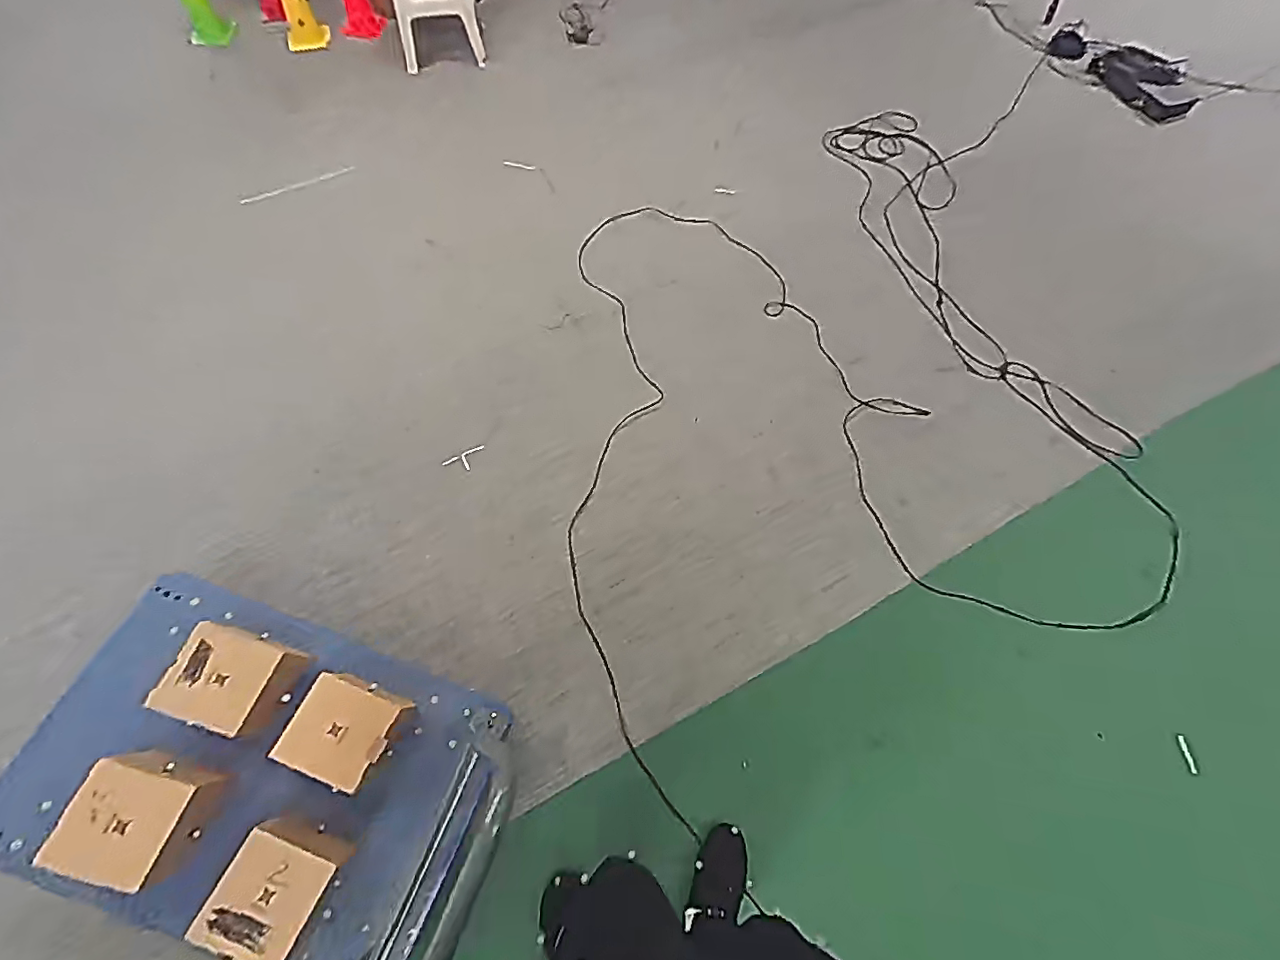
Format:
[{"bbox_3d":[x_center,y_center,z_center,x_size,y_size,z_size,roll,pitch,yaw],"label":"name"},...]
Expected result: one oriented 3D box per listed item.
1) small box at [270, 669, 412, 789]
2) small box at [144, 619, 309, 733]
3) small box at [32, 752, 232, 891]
[{"bbox_3d":[-0.602,0.508,1.116,0.179,0.176,0.168,25,66,-3],"label":"small box"},{"bbox_3d":[-0.827,0.402,1.106,0.179,0.176,0.168,22,66,-4],"label":"small box"},{"bbox_3d":[-0.915,0.618,1.001,0.179,0.176,0.168,20,65,-4],"label":"small box"}]
